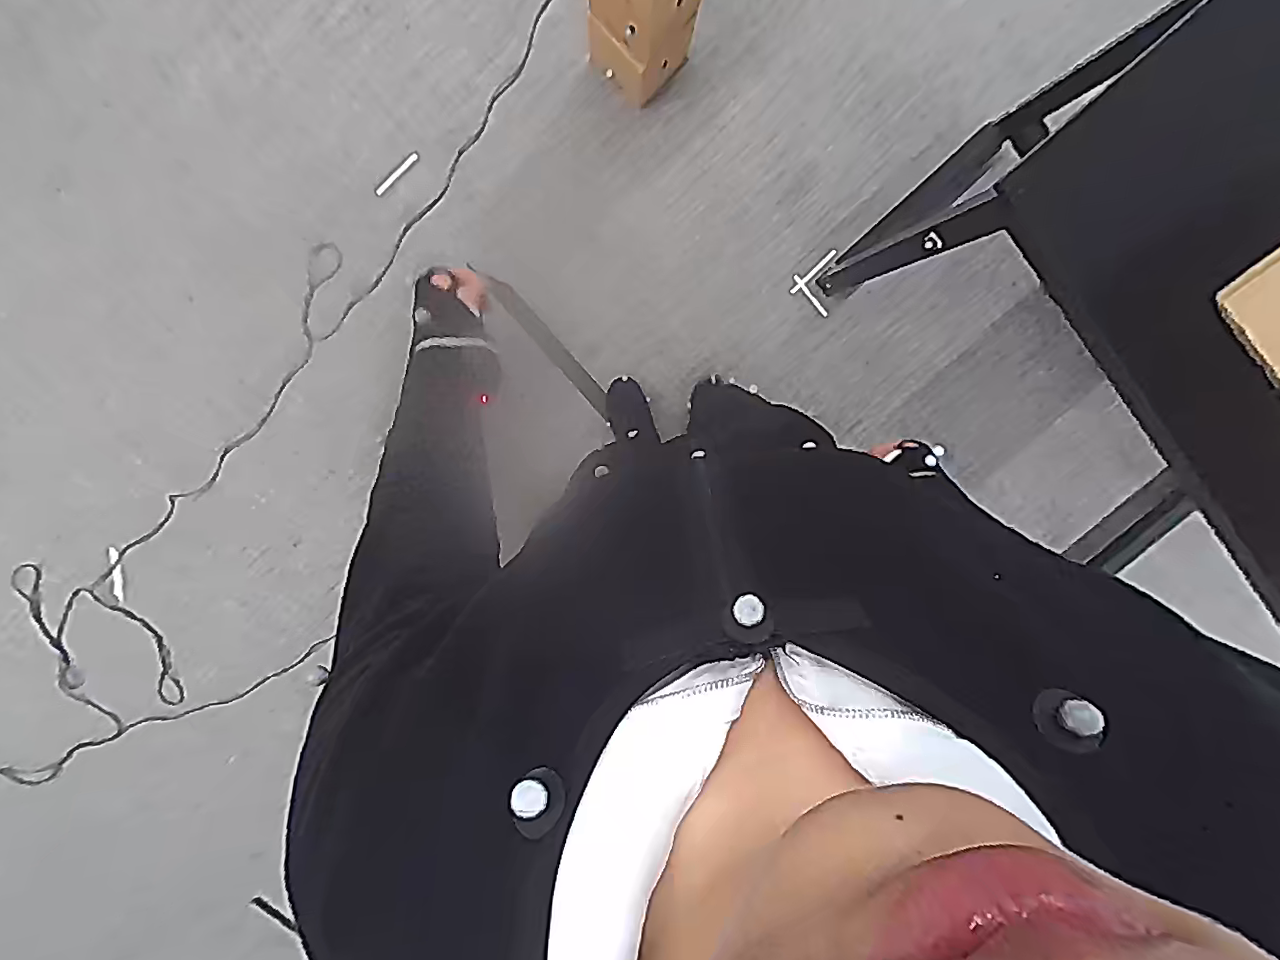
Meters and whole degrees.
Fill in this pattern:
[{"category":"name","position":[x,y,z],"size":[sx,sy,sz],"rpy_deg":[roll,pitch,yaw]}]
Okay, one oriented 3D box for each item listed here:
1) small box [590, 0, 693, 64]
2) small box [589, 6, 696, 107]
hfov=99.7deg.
[{"category":"small box","position":[0.010,-0.988,1.069],"size":[0.168,0.176,0.179],"rpy_deg":[40,95,-11]},{"category":"small box","position":[0.000,-1.012,1.230],"size":[0.168,0.176,0.179],"rpy_deg":[44,96,-9]}]
